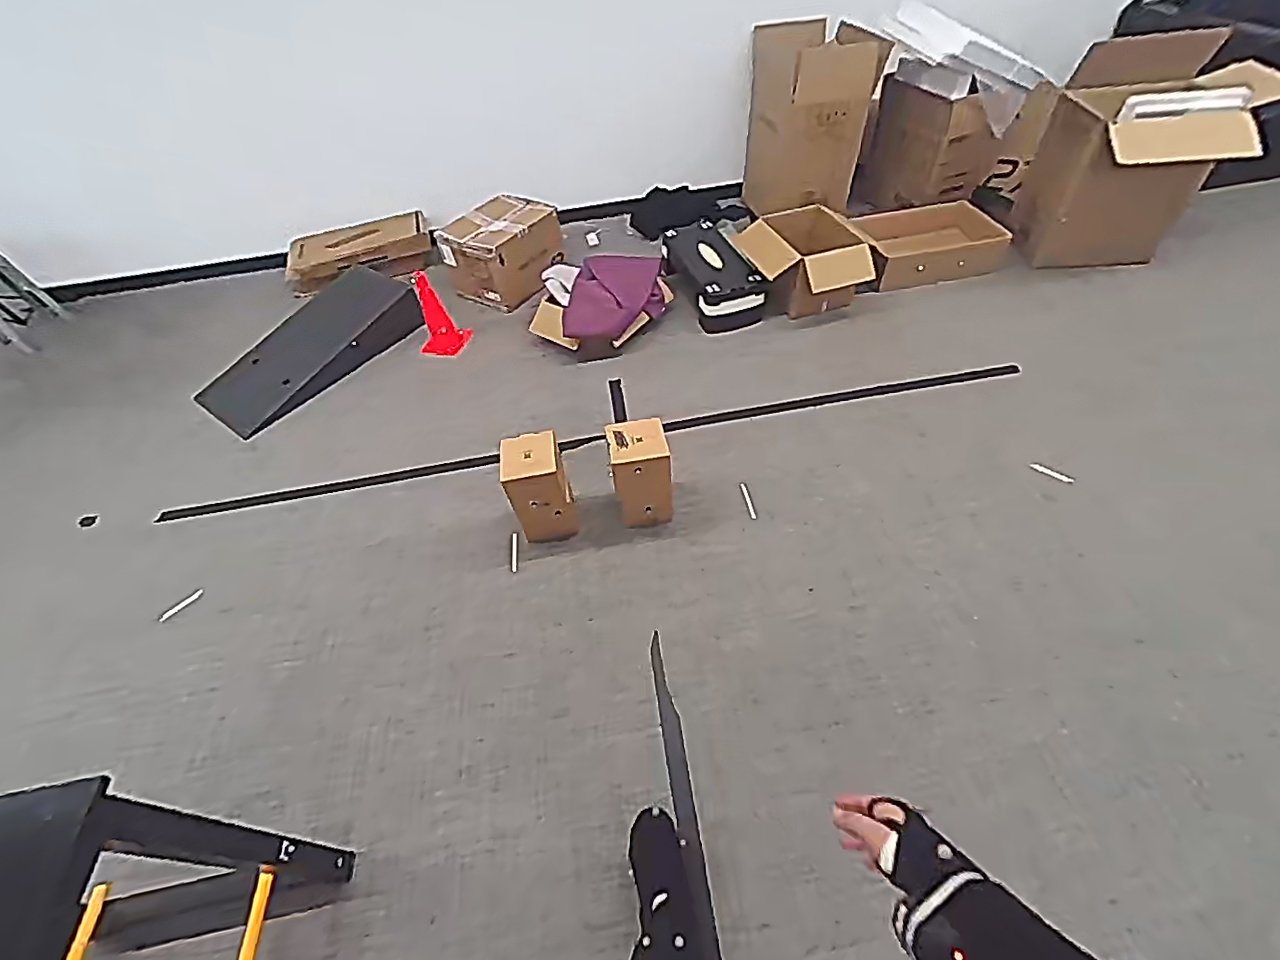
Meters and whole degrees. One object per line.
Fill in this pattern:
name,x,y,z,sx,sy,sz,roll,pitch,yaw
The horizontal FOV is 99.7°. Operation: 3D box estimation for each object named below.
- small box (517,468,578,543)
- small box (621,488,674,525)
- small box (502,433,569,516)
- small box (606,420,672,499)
small box,-0.305,0.085,1.791,0.179,0.176,0.168,-11,49,-3
small box,0.019,0.035,1.802,0.168,0.176,0.179,-8,51,-1
small box,-0.320,-0.015,1.665,0.168,0.176,0.179,-12,51,-1
small box,-0.001,-0.058,1.665,0.179,0.176,0.168,-10,50,-3
